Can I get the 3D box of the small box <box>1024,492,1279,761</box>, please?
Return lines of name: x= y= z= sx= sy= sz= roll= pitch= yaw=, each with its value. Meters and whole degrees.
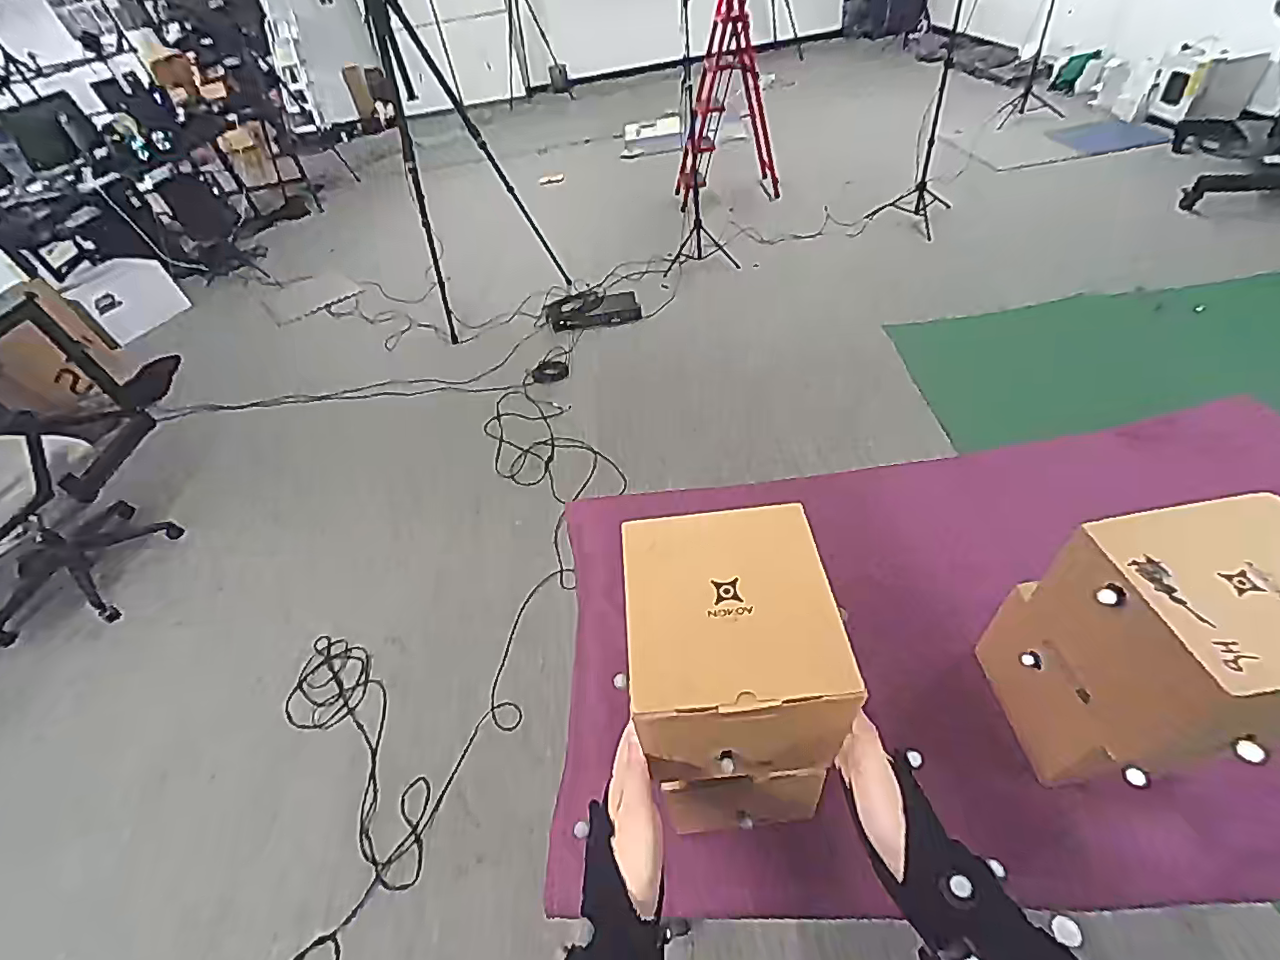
small box: x=0.505 y=0.135 z=0.490 sx=0.179 sy=0.176 sz=0.168 roll=-9 pitch=45 yaw=2

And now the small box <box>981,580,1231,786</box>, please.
small box: x=0.534 y=0.228 z=0.624 sx=0.168 sy=0.176 sz=0.179 roll=-7 pitch=45 yaw=4

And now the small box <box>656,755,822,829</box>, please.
small box: x=0.103 y=0.288 z=0.645 sx=0.168 sy=0.176 sz=0.179 roll=-9 pitch=44 yaw=3

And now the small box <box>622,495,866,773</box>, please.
small box: x=0.074 y=0.138 z=0.481 sx=0.168 sy=0.176 sz=0.179 roll=-6 pitch=48 yaw=1
